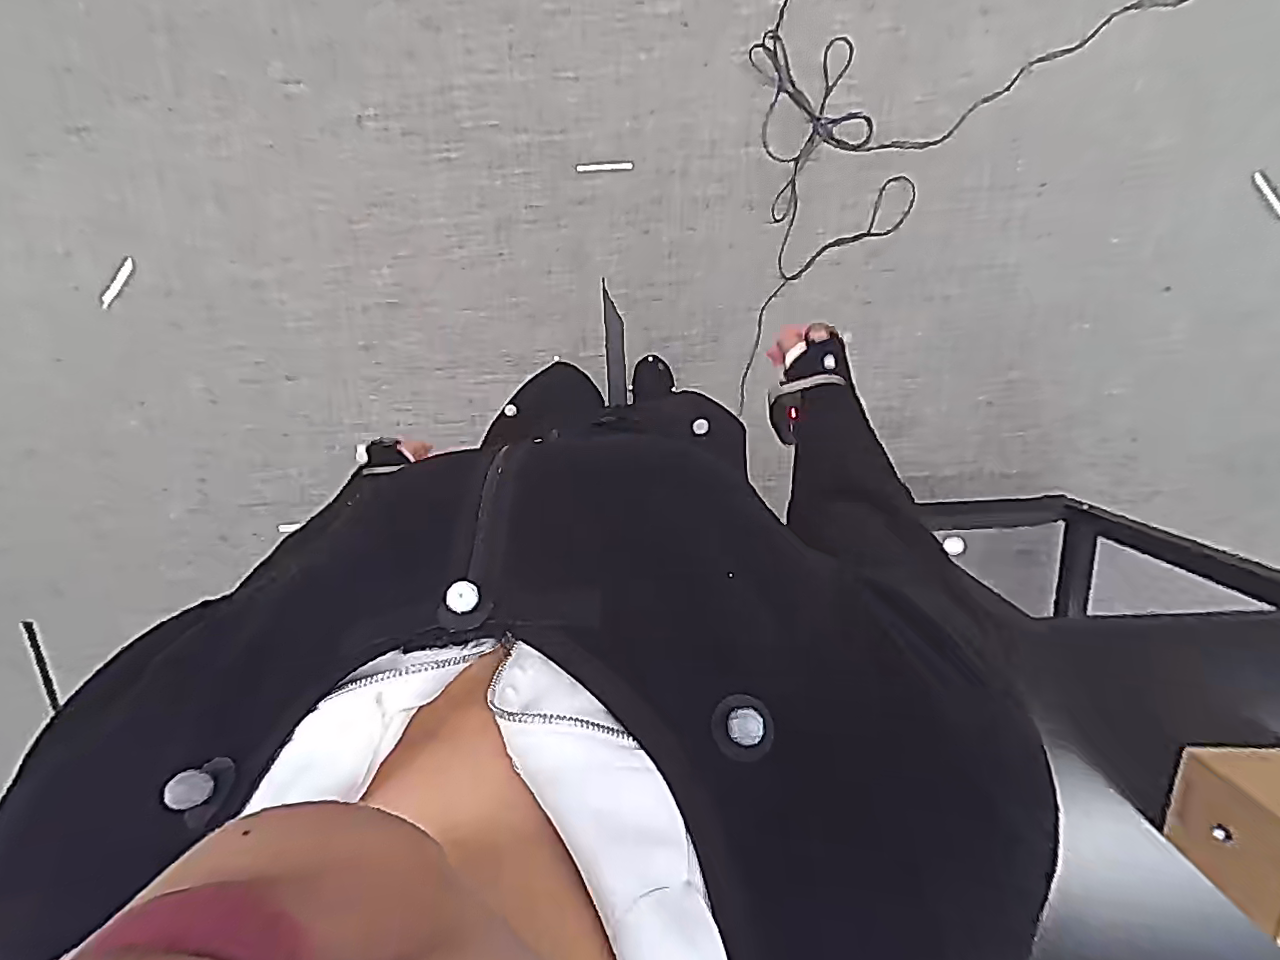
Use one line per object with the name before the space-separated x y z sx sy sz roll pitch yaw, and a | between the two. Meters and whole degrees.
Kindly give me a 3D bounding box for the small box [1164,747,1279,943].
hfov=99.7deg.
small box | 0.900 0.498 0.753 0.179 0.176 0.168 1 103 1
